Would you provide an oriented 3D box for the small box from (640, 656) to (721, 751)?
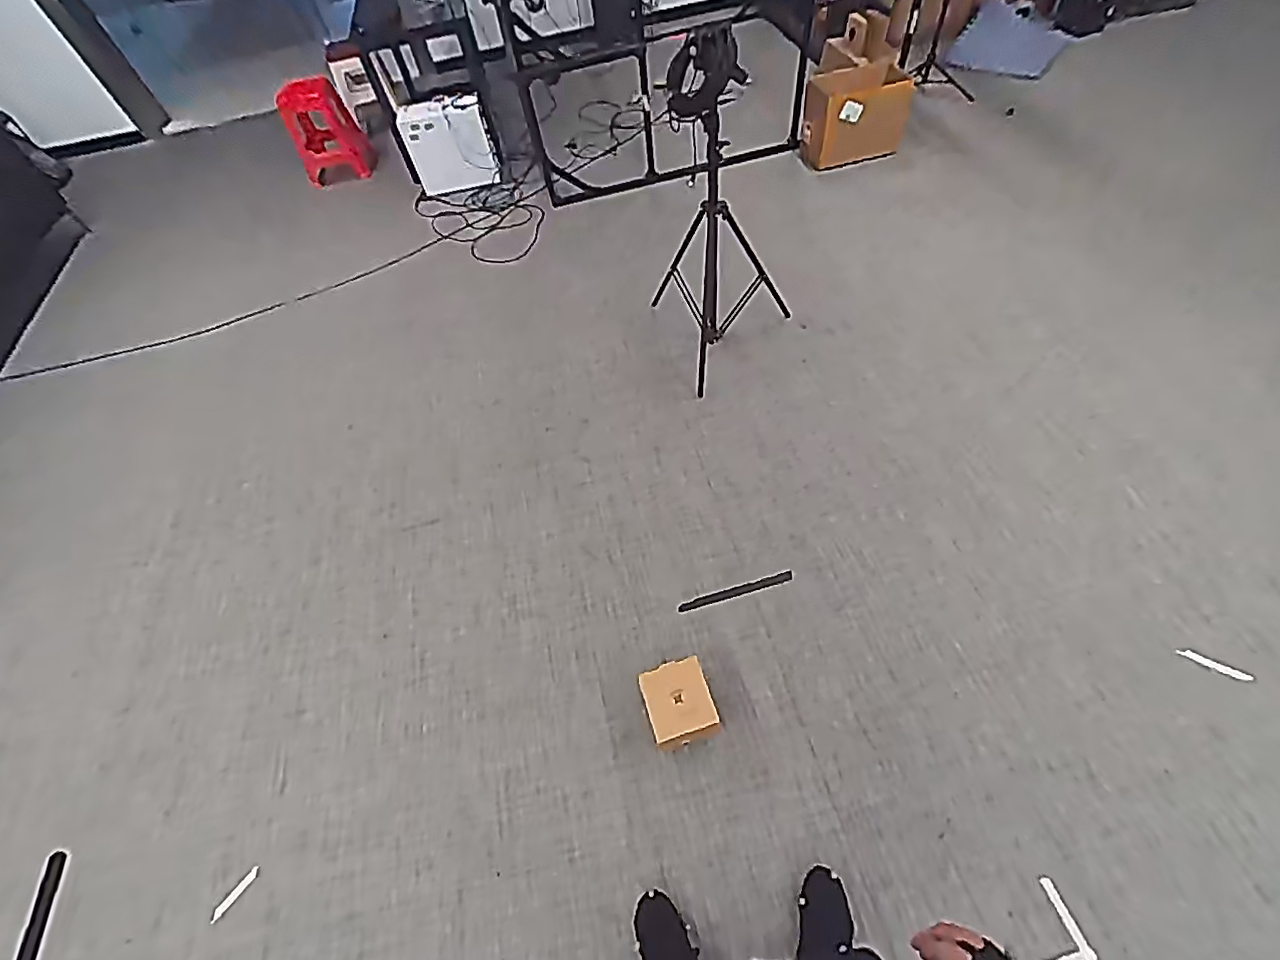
[{"bbox_3d":[0.107,0.596,1.437,0.168,0.176,0.179,-18,56,-3],"label":"small box"}]
